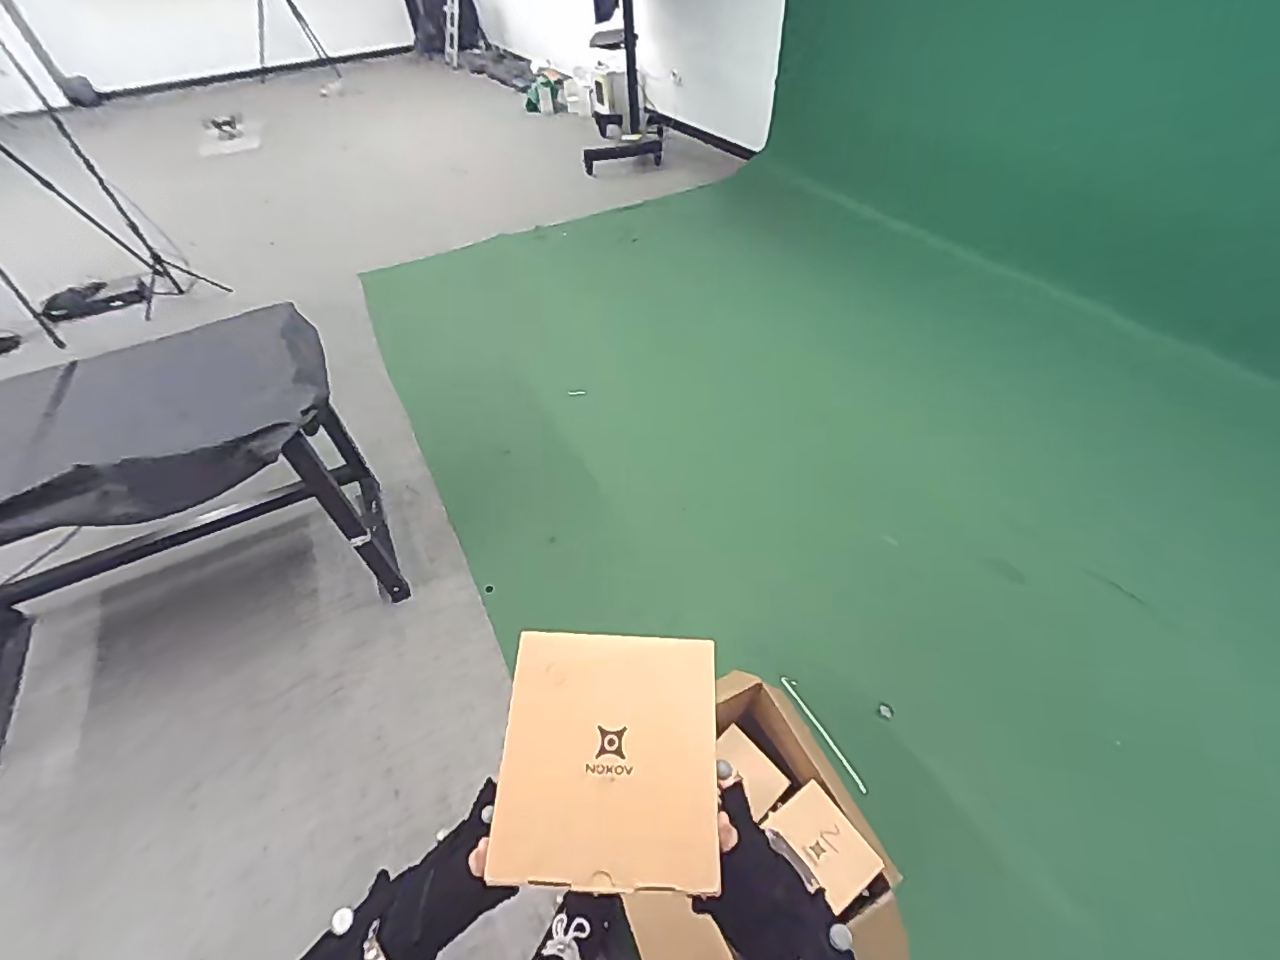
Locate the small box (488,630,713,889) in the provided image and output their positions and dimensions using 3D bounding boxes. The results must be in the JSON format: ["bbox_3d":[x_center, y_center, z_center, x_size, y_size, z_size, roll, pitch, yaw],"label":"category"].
[{"bbox_3d":[-0.028,0.250,0.495,0.168,0.176,0.179,4,61,-1],"label":"small box"}]
